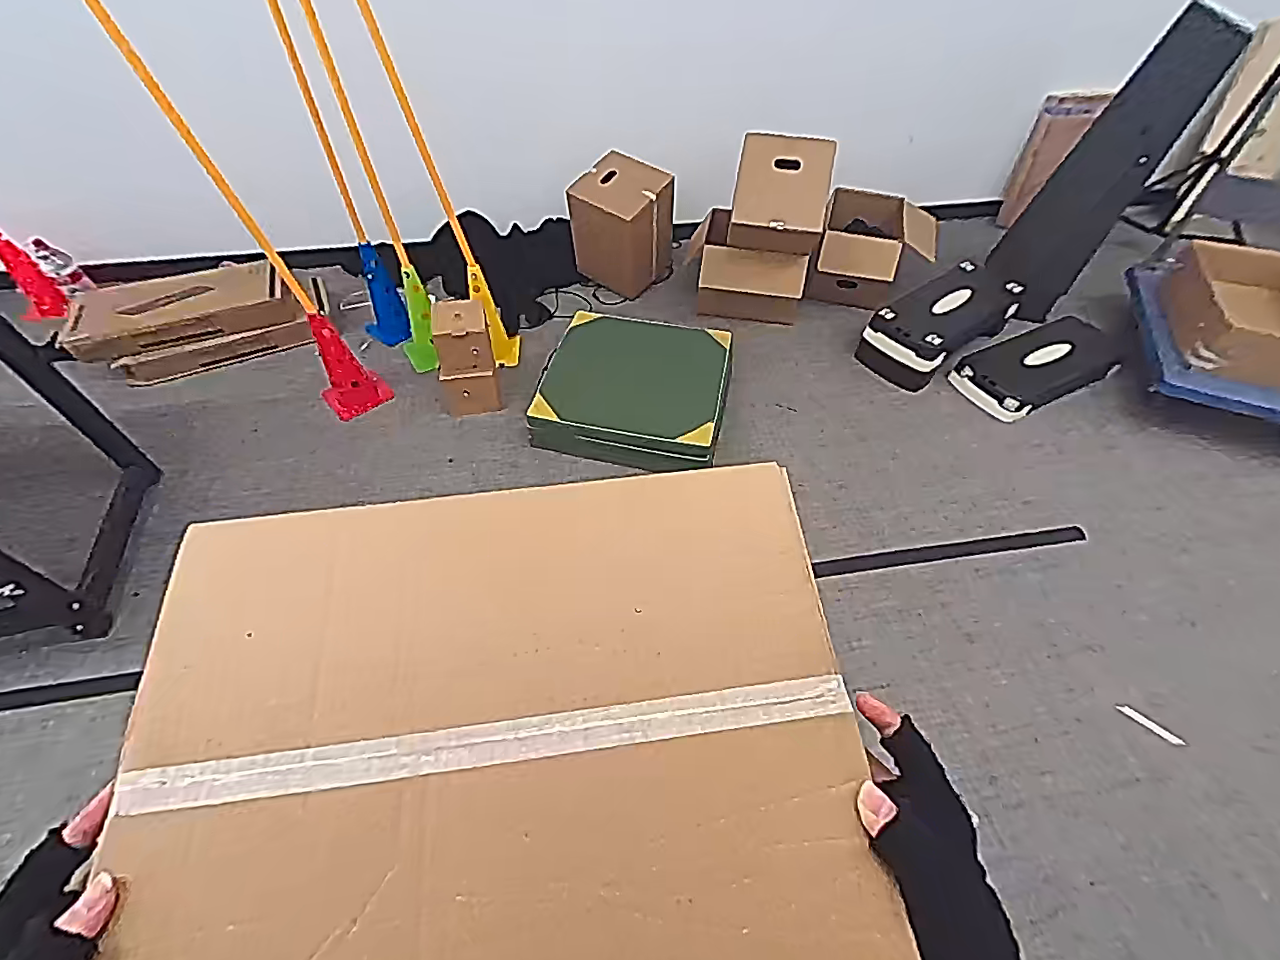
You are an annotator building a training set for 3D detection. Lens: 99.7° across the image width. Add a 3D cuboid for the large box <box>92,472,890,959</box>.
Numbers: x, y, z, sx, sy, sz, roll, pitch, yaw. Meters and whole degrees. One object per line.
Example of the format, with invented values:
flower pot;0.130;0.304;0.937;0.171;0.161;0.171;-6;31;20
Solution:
large box;-0.085;0.216;0.451;0.408;0.320;0.320;-6;63;-3
